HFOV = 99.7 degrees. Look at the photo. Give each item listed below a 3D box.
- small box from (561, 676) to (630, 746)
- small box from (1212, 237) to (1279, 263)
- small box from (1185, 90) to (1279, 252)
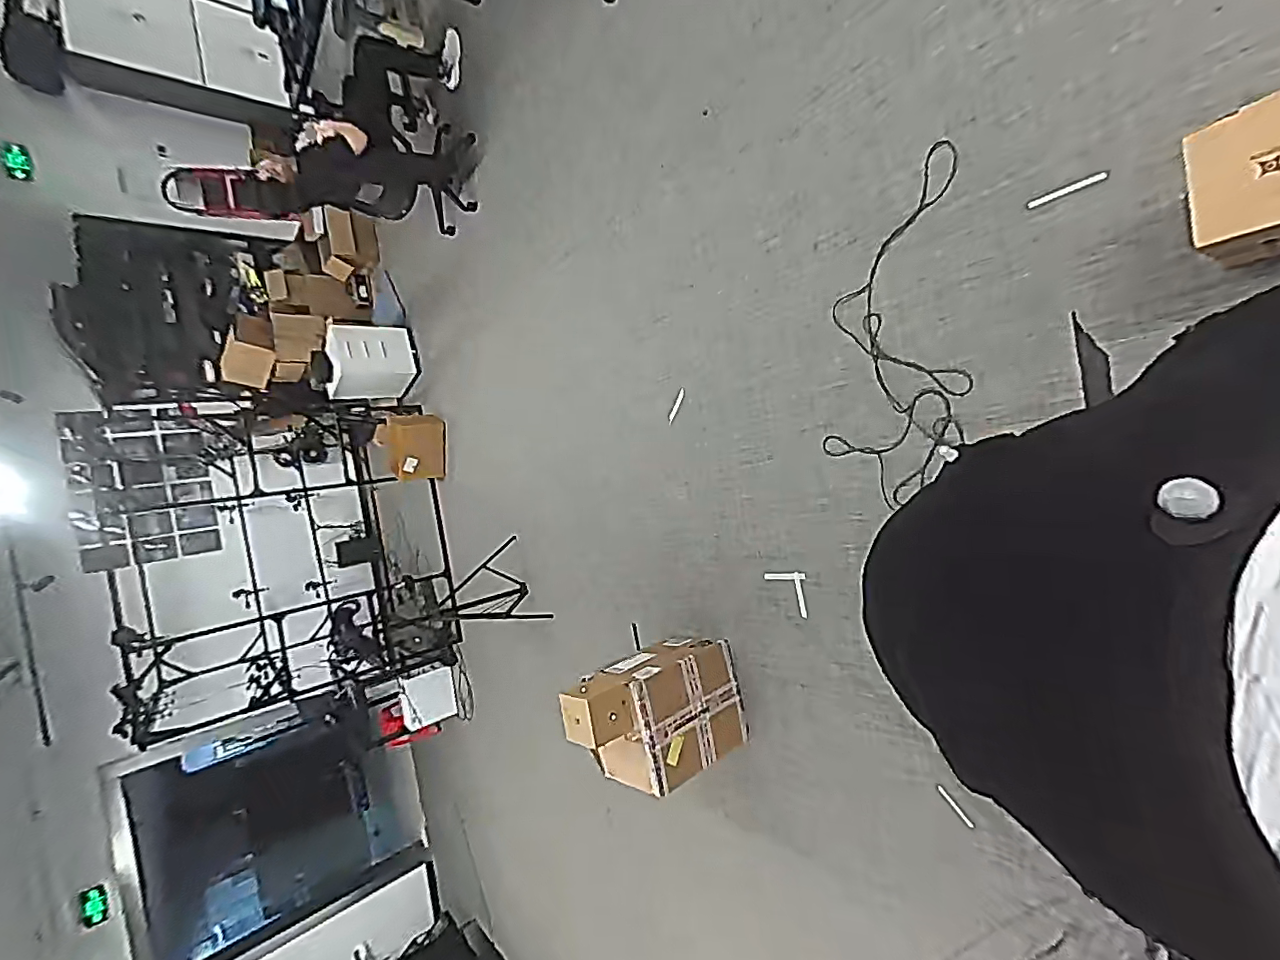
[{"bbox_3d":[-0.149,0.797,1.884,0.179,0.176,0.168,-15,84,48],"label":"small box"},{"bbox_3d":[1.073,-0.479,0.896,0.179,0.176,0.168,-11,89,53],"label":"small box"},{"bbox_3d":[0.943,-0.460,0.800,0.168,0.176,0.179,-7,93,53],"label":"small box"}]
